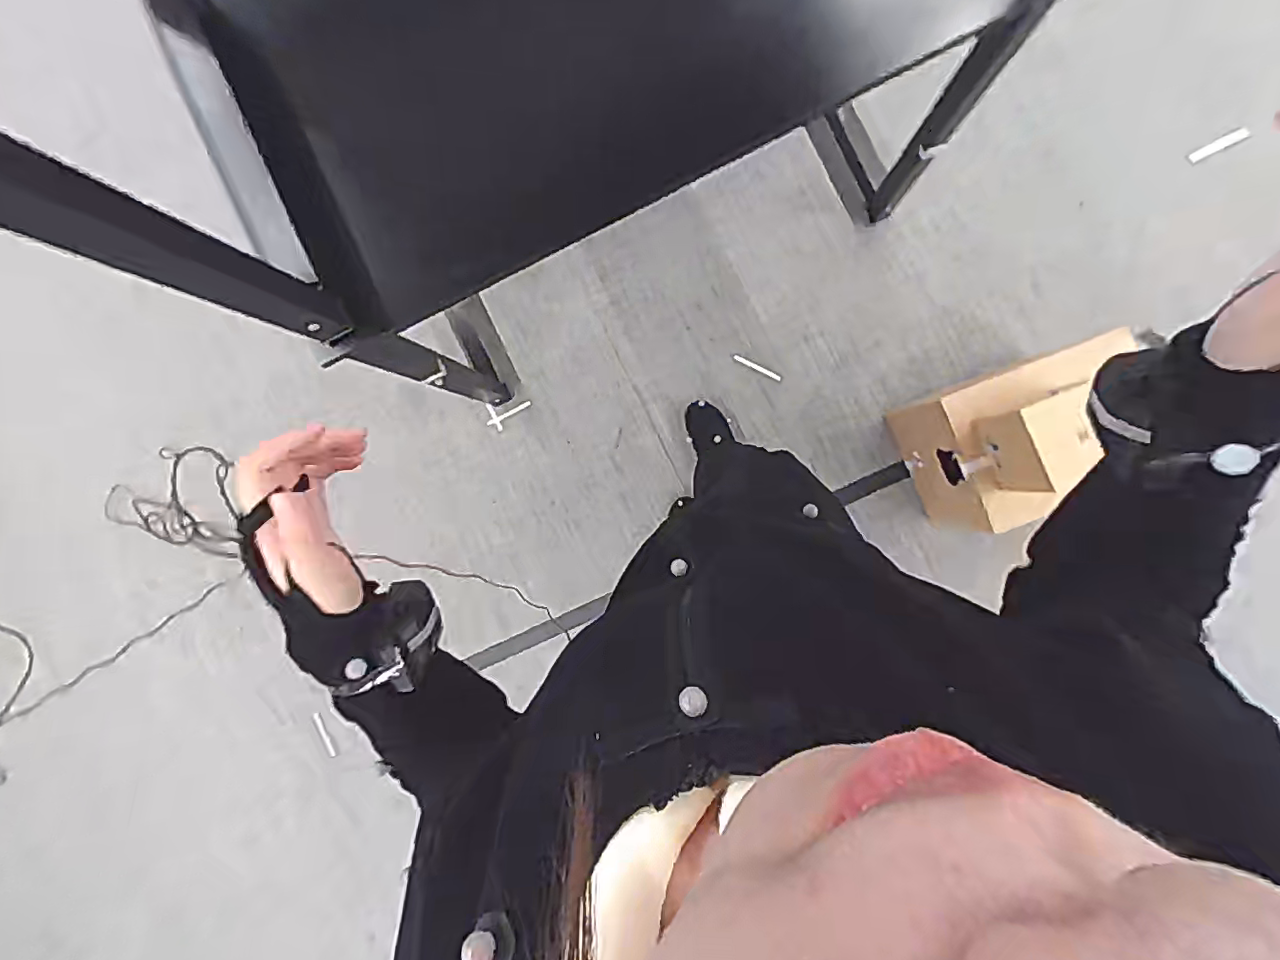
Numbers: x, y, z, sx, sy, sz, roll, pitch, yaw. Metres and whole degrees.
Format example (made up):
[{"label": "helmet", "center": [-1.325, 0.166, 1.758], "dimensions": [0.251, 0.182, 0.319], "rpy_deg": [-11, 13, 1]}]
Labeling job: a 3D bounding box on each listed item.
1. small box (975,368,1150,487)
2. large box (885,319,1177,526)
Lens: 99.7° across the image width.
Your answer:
[{"label": "small box", "center": [0.793, -0.095, 1.034], "dimensions": [0.179, 0.176, 0.168], "rpy_deg": [-22, 88, 5]}, {"label": "large box", "center": [0.875, -0.119, 1.273], "dimensions": [0.408, 0.320, 0.320], "rpy_deg": [-22, 91, 4]}]
